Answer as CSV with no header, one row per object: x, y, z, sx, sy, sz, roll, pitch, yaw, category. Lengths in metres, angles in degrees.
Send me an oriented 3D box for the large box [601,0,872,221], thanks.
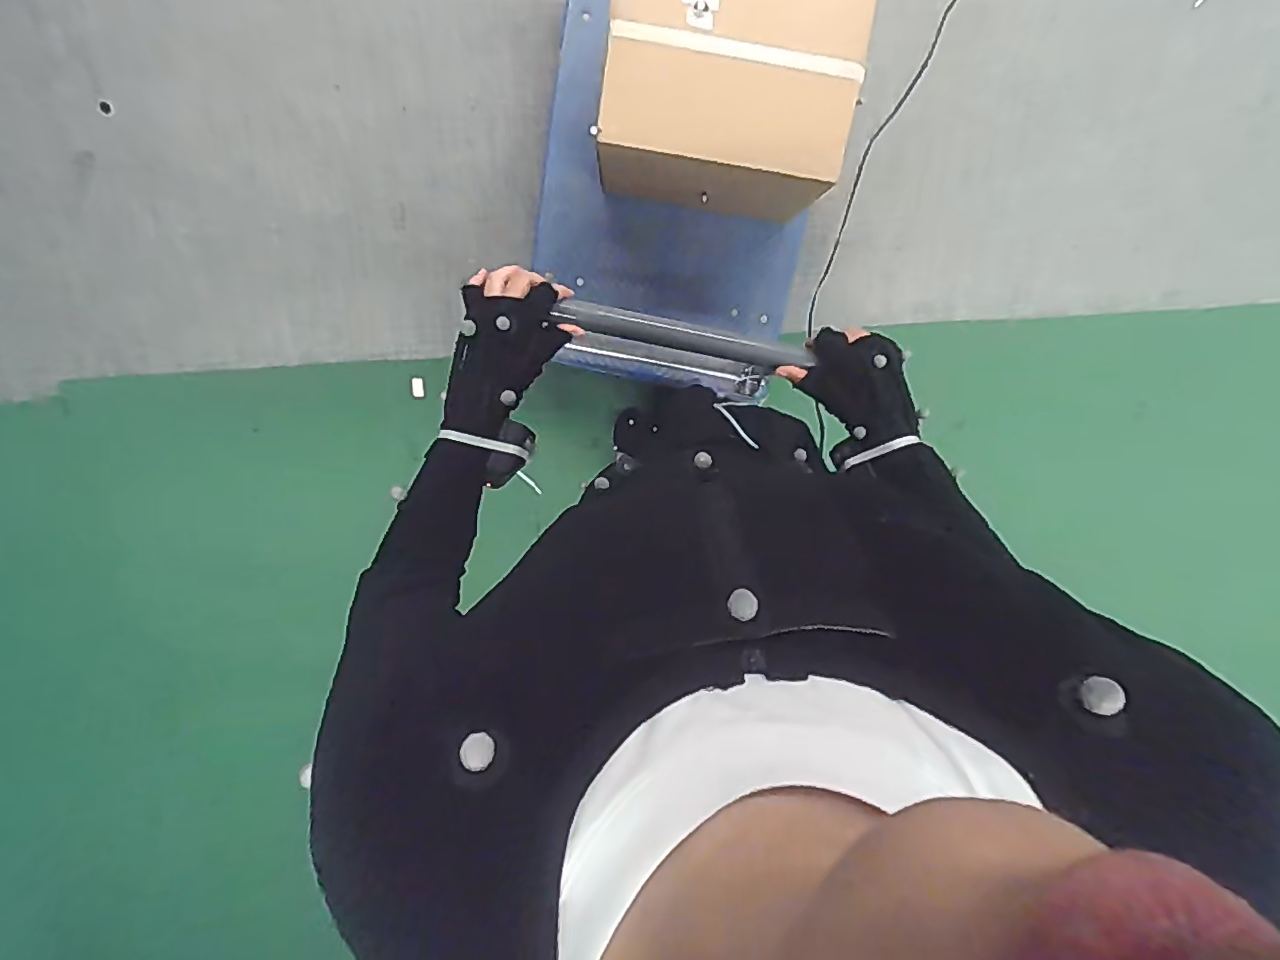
0.152,-0.698,1.000,0.408,0.320,0.320,7,102,-2,large box
